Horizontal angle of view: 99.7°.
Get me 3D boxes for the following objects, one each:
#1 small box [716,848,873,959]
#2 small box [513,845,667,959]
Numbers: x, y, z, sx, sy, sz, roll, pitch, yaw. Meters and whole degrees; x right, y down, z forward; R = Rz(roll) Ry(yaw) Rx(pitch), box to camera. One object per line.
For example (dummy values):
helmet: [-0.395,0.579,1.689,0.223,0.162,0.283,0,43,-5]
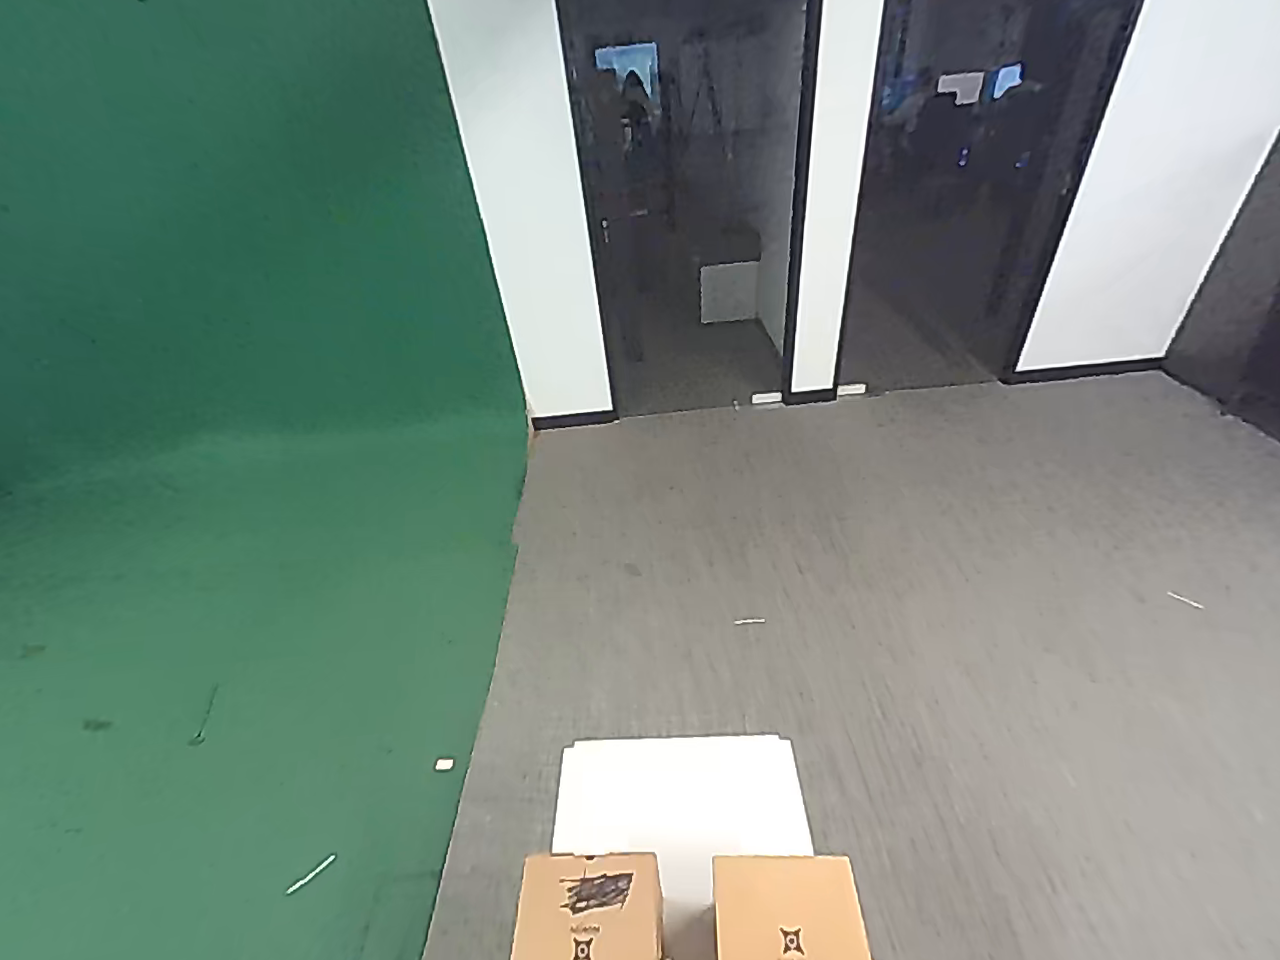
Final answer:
small box: [0.177,0.571,0.644,0.168,0.176,0.179,-4,38,6]
small box: [-0.054,0.581,0.665,0.168,0.176,0.179,-3,38,4]
